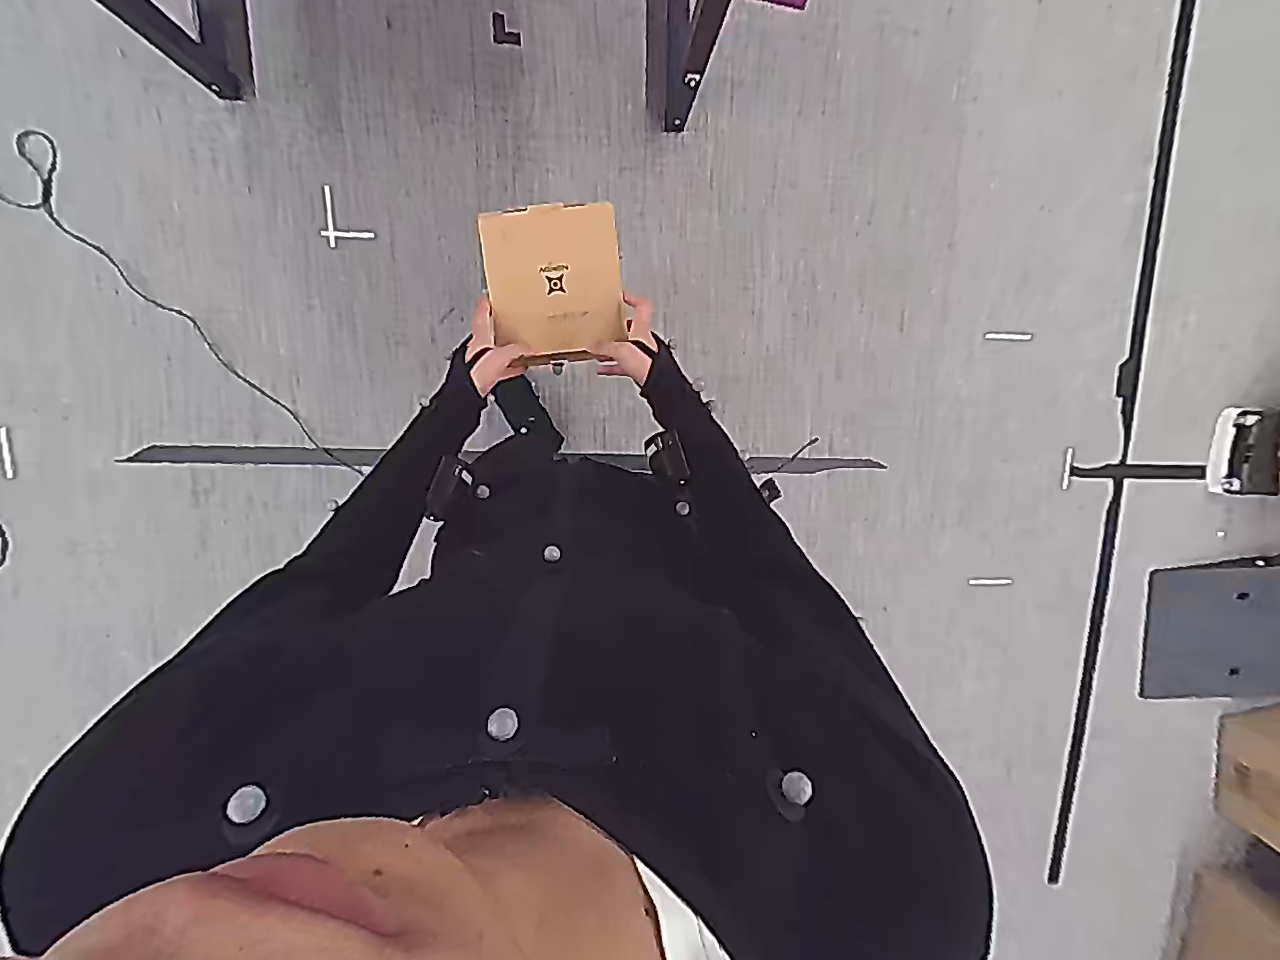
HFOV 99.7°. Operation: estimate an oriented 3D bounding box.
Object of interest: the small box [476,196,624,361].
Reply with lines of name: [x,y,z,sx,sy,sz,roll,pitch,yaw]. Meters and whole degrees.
small box: [-0.116,-0.263,0.739,0.168,0.176,0.179,-7,100,-4]
